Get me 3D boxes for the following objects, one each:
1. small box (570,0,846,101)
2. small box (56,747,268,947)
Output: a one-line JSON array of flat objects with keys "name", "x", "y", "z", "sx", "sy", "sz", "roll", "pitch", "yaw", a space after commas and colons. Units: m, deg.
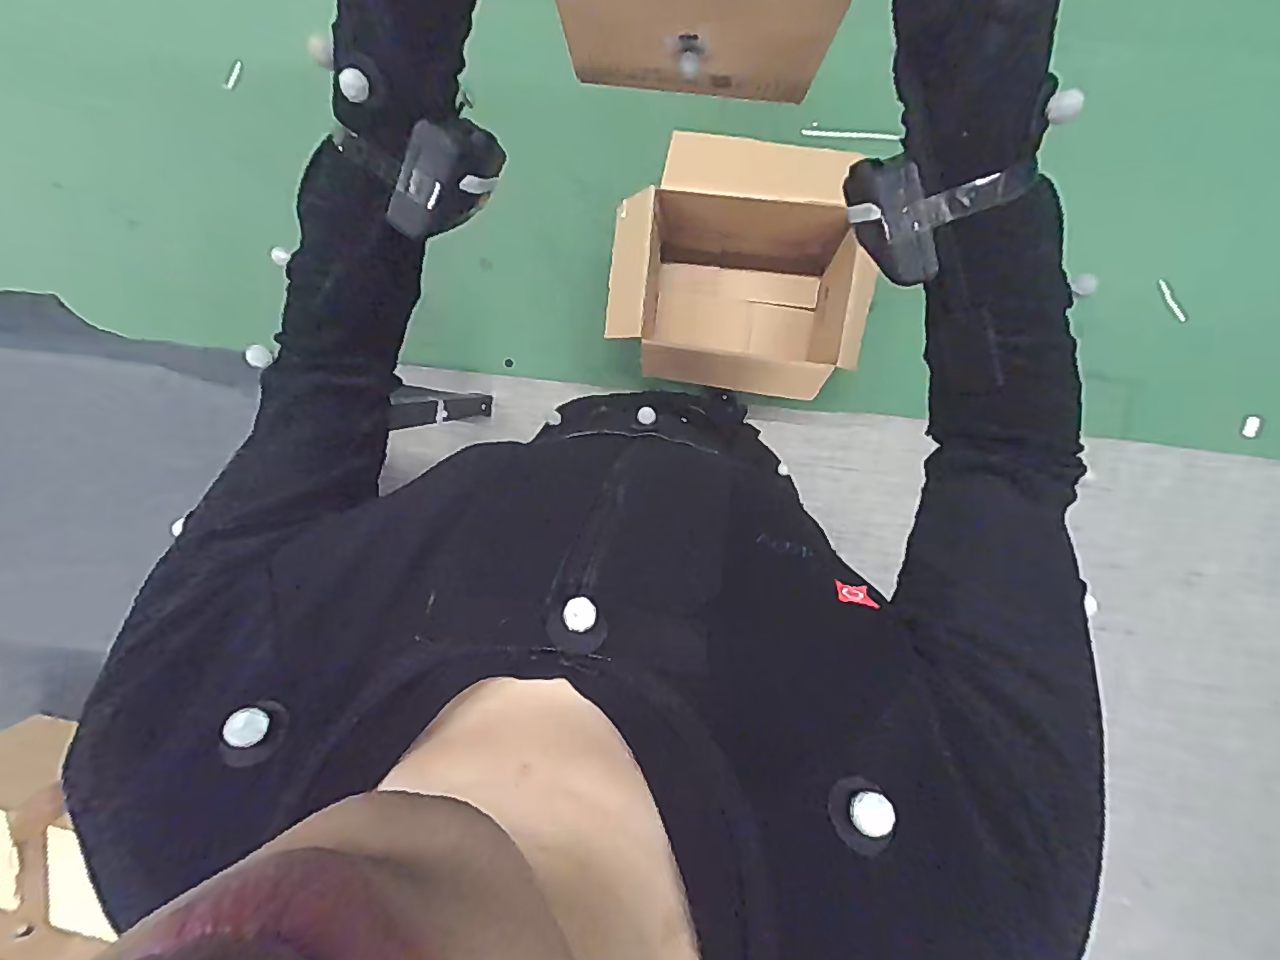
[{"name": "small box", "x": 0.043, "y": -0.356, "z": 0.299, "sx": 0.168, "sy": 0.176, "sz": 0.179, "roll": 7, "pitch": 99, "yaw": 2}, {"name": "small box", "x": -0.713, "y": 0.538, "z": 0.819, "sx": 0.179, "sy": 0.176, "sz": 0.168, "roll": 11, "pitch": 100, "yaw": 4}]
